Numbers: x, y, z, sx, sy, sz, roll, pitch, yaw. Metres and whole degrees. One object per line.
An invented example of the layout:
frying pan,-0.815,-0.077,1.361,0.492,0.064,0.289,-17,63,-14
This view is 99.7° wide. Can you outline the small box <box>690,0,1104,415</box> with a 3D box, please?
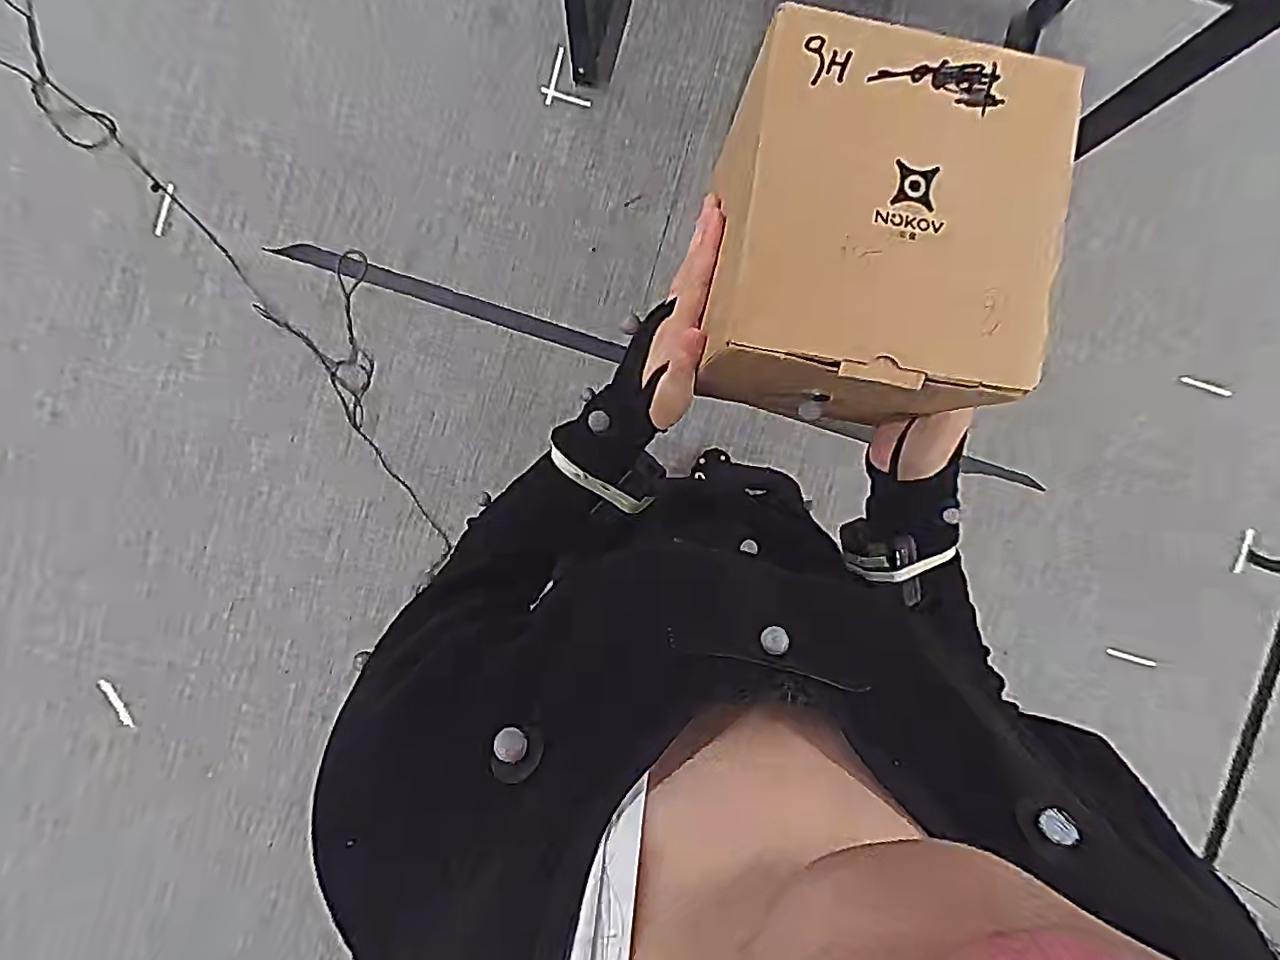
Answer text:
small box,0.133,-0.142,0.347,0.168,0.176,0.179,9,91,-5
